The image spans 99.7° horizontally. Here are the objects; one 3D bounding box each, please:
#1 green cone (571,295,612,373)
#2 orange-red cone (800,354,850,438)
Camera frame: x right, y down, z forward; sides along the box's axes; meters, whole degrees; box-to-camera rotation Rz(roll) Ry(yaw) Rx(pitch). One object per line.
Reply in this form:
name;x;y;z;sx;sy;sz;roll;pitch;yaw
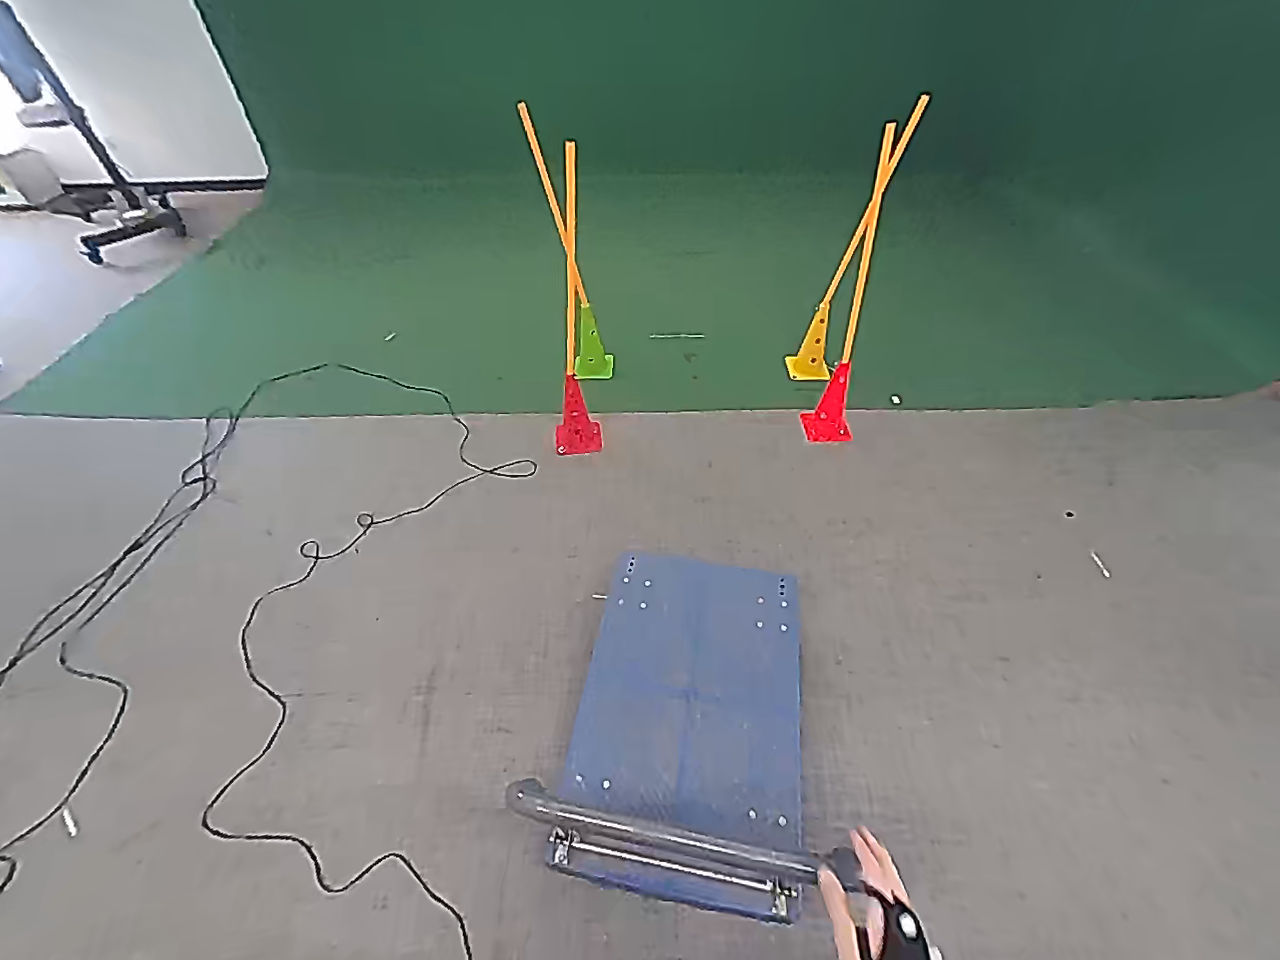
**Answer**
green cone;-0.253;-0.728;2.658;0.200;0.368;0.202;-1;46;1
orange-red cone;0.832;-0.380;2.315;0.198;0.360;0.199;0;45;0
